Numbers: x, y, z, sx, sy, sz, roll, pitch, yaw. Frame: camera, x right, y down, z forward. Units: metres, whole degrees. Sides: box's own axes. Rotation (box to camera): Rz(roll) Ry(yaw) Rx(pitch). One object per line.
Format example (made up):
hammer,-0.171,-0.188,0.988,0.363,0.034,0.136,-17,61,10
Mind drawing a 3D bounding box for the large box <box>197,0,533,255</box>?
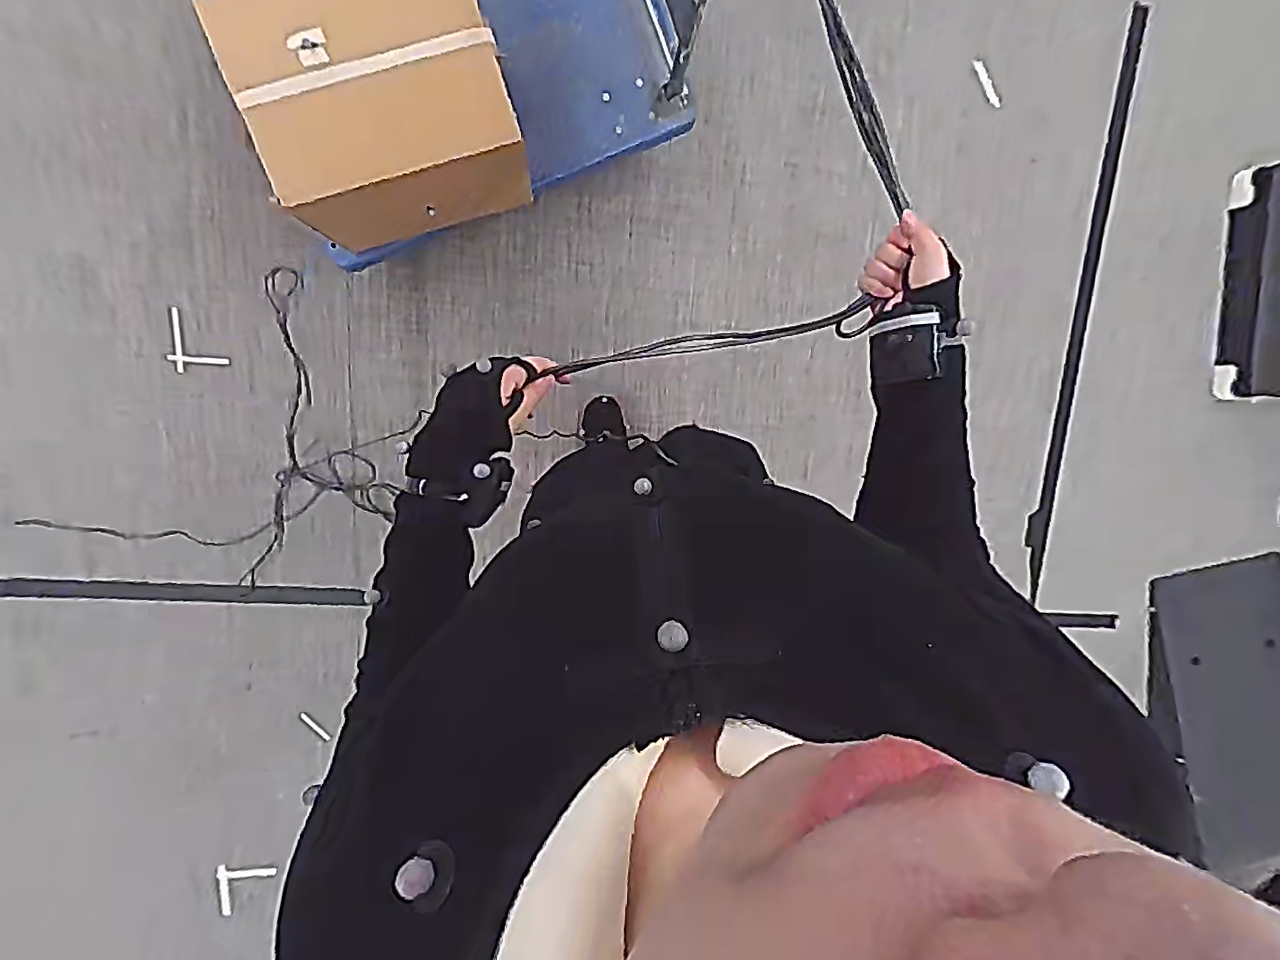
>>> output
large box,-0.445,-0.655,0.989,0.408,0.320,0.320,-19,101,-4
